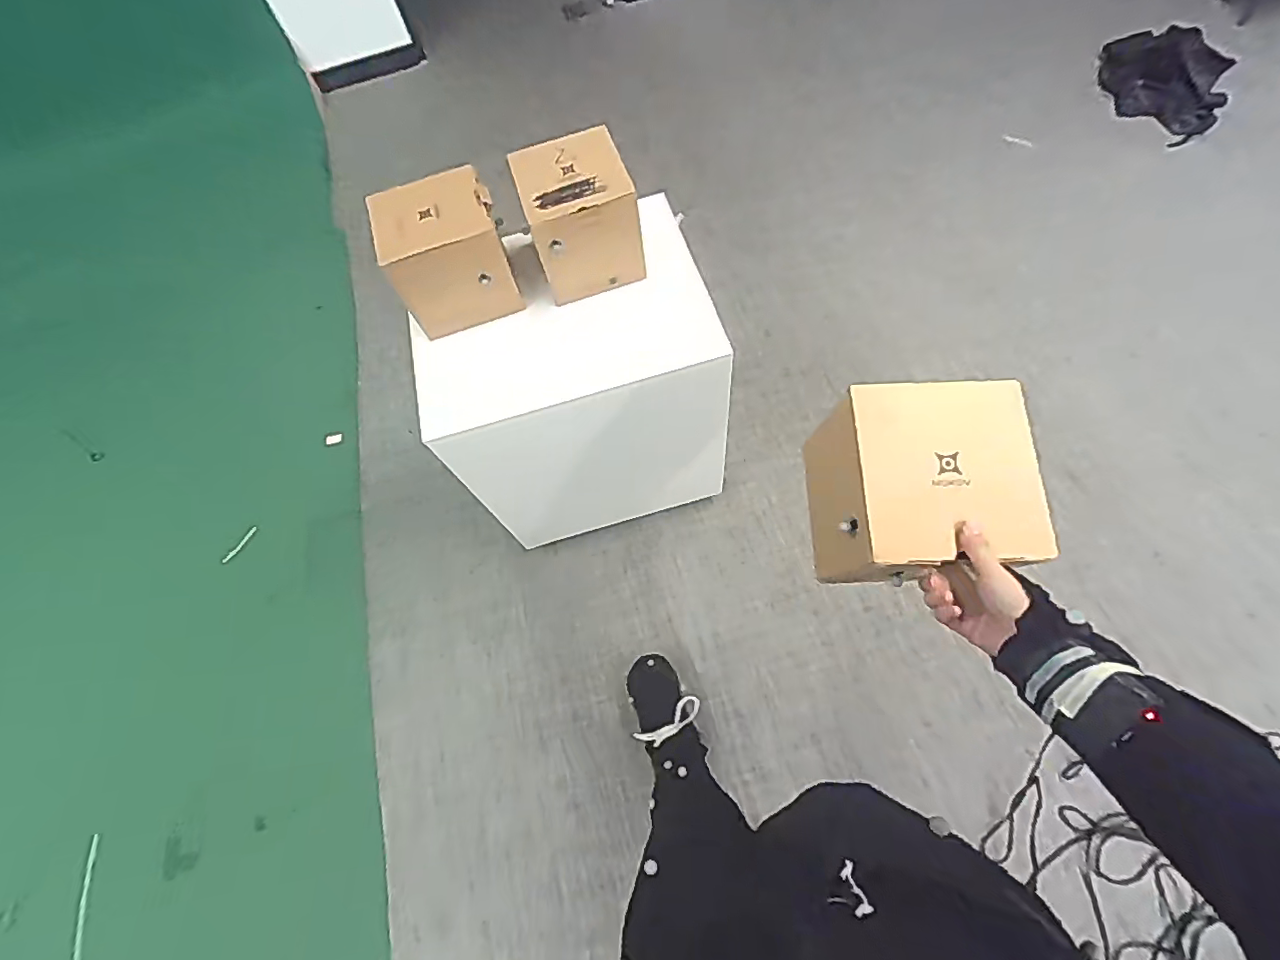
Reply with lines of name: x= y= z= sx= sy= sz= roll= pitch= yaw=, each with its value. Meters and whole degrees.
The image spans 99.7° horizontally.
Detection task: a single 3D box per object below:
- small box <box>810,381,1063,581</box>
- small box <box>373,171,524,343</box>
small box: x=0.290 y=0.011 z=0.575 sx=0.168 sy=0.176 sz=0.179 roll=-1 pitch=74 yaw=0
small box: x=-0.303 y=-0.359 z=0.888 sx=0.179 sy=0.176 sz=0.168 roll=-21 pitch=64 yaw=-3
